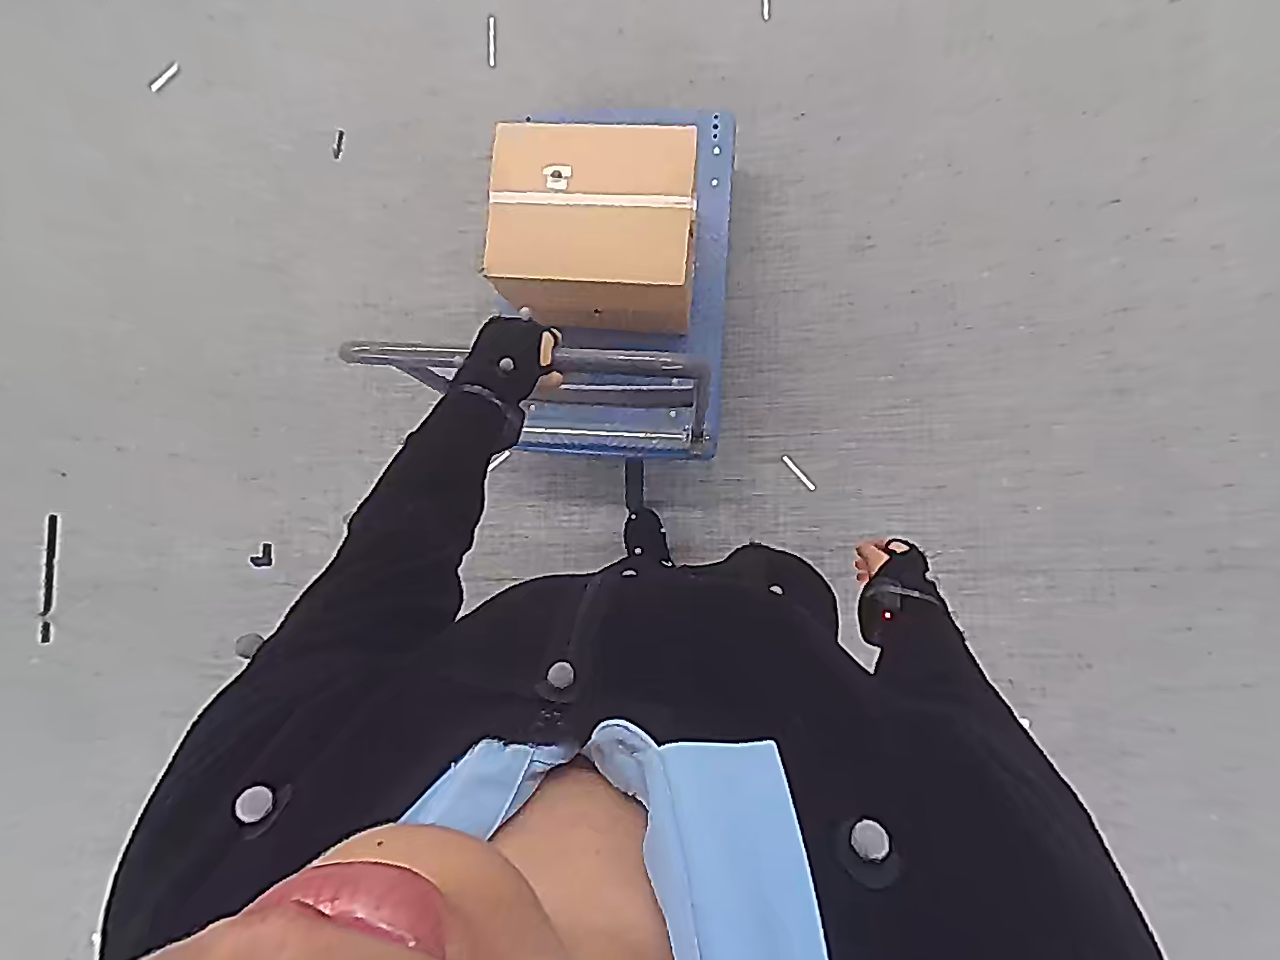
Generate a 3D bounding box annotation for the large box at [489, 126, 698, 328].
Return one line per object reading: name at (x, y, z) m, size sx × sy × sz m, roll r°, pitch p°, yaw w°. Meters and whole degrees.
large box at (-0.079, -0.541, 1.215) m, size 0.408 × 0.320 × 0.320 m, roll 5°, pitch 87°, yaw 7°
